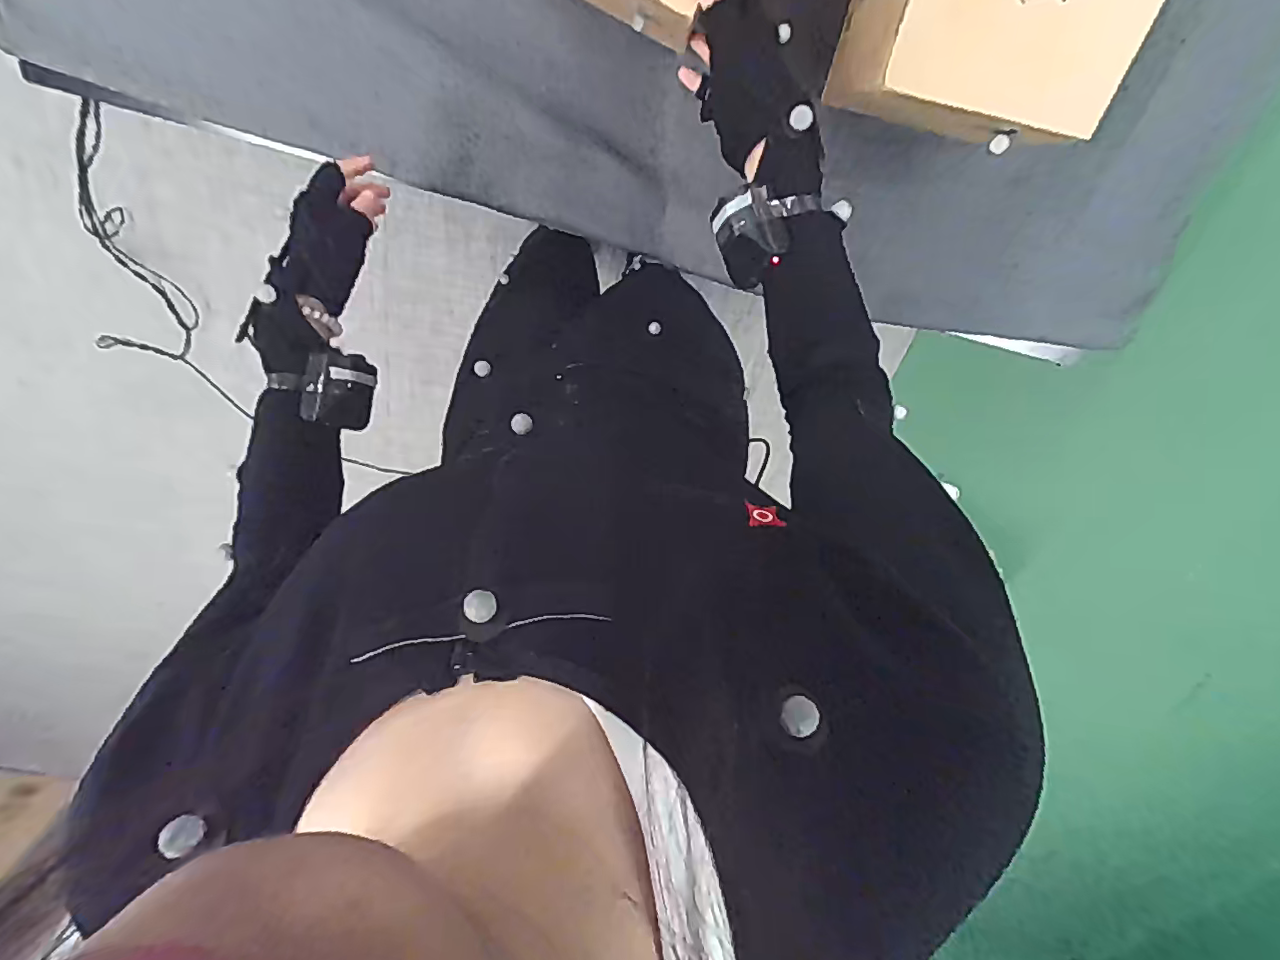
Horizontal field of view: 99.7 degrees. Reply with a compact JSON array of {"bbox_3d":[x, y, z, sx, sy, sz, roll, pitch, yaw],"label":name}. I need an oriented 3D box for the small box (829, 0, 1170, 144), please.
[{"bbox_3d":[0.281,-0.385,0.434,0.179,0.176,0.168,10,121,-5],"label":"small box"}]
